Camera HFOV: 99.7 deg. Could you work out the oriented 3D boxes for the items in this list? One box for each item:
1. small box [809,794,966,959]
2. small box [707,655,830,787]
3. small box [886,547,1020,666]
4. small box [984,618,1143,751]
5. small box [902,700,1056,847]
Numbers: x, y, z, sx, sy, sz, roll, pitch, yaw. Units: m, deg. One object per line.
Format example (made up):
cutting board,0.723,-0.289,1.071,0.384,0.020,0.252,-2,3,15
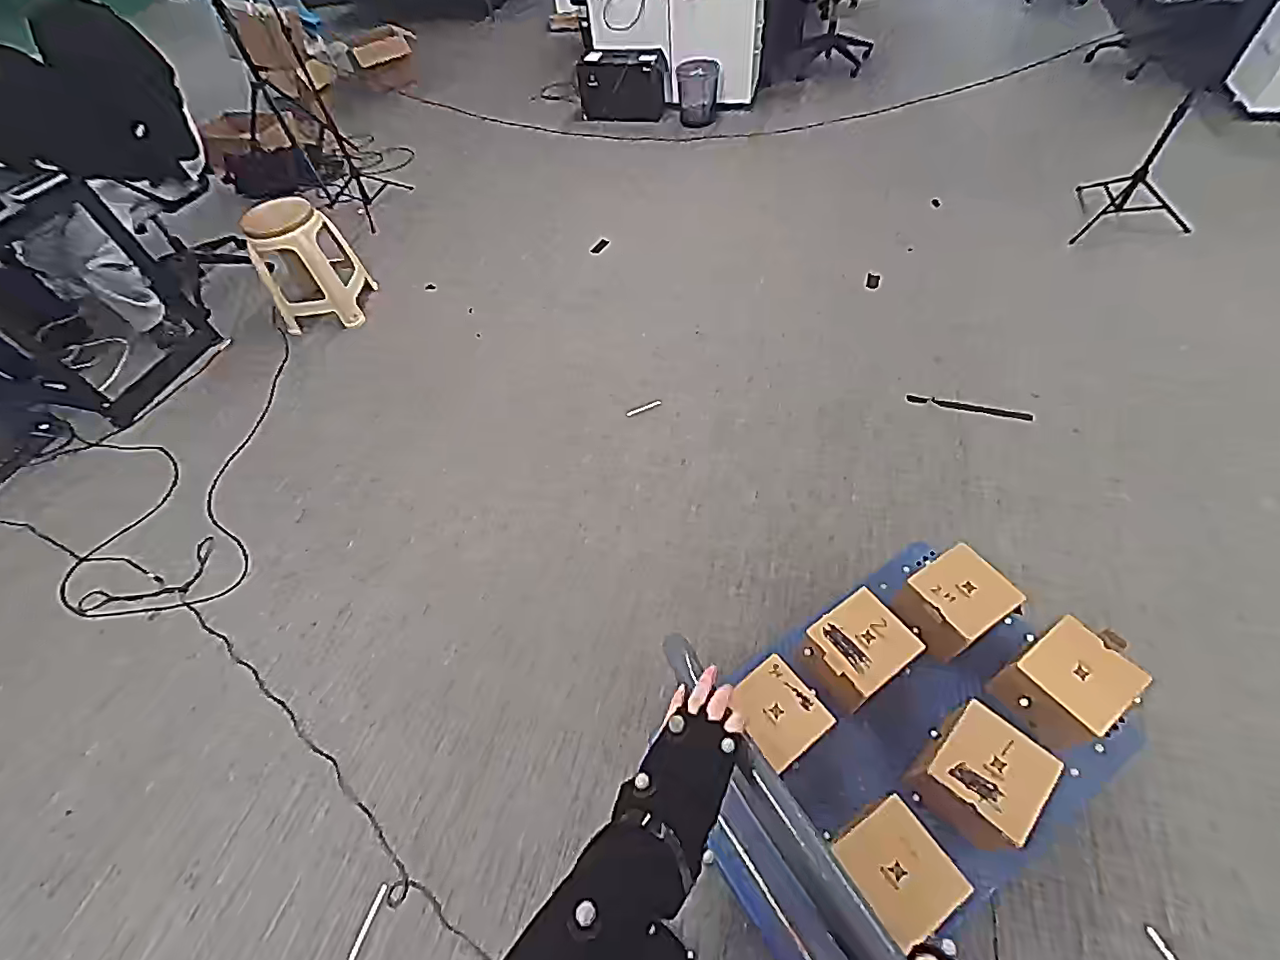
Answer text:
small box,0.419,0.694,0.954,0.179,0.176,0.168,-29,57,-15
small box,0.256,0.499,1.110,0.179,0.176,0.168,-32,58,-17
small box,0.693,0.287,1.221,0.179,0.176,0.168,-28,56,-13
small box,0.848,0.423,1.108,0.179,0.176,0.168,-32,57,-17
small box,0.628,0.562,1.028,0.179,0.176,0.168,-39,60,-22
